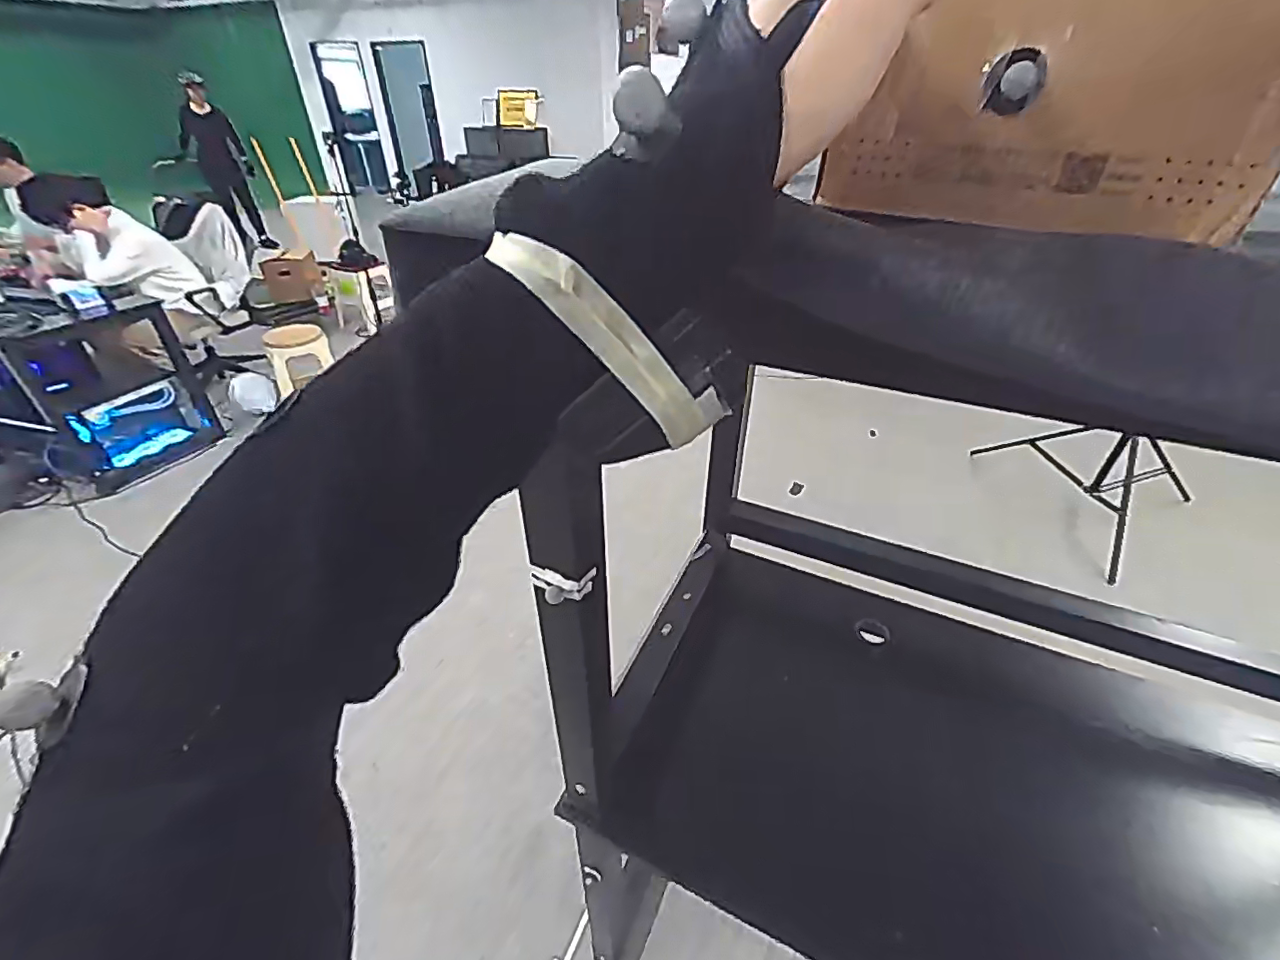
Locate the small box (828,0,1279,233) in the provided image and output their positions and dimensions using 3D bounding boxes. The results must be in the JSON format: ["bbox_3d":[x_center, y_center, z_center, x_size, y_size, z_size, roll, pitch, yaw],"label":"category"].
[{"bbox_3d":[0.198,-0.227,0.255,0.168,0.176,0.179,16,37,18],"label":"small box"}]
